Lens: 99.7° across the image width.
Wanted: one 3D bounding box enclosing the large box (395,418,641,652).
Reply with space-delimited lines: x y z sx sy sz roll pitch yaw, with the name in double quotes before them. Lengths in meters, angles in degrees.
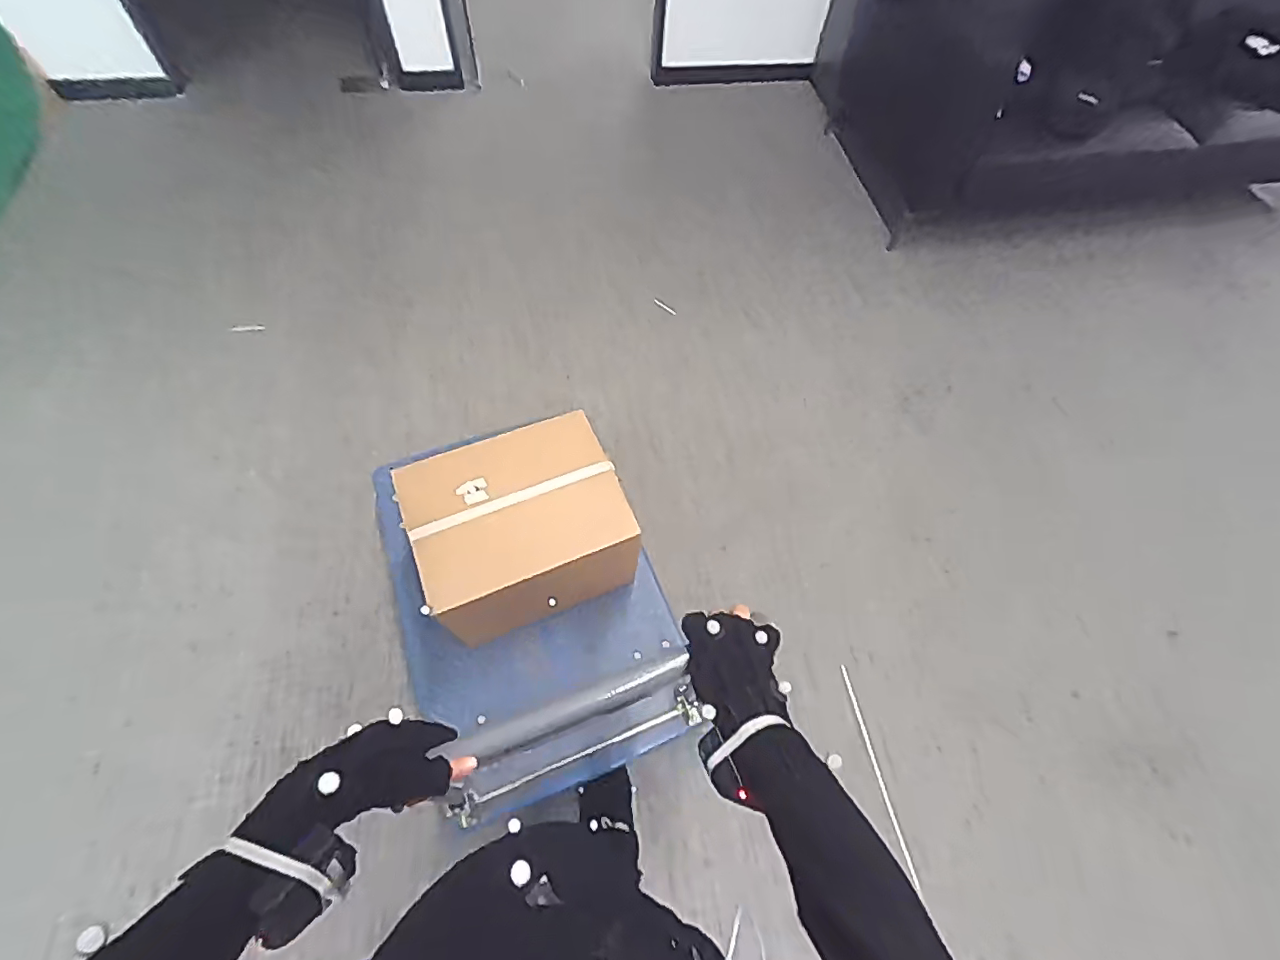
"large box" -0.247 0.127 1.175 0.408 0.320 0.320 -20 65 -14
